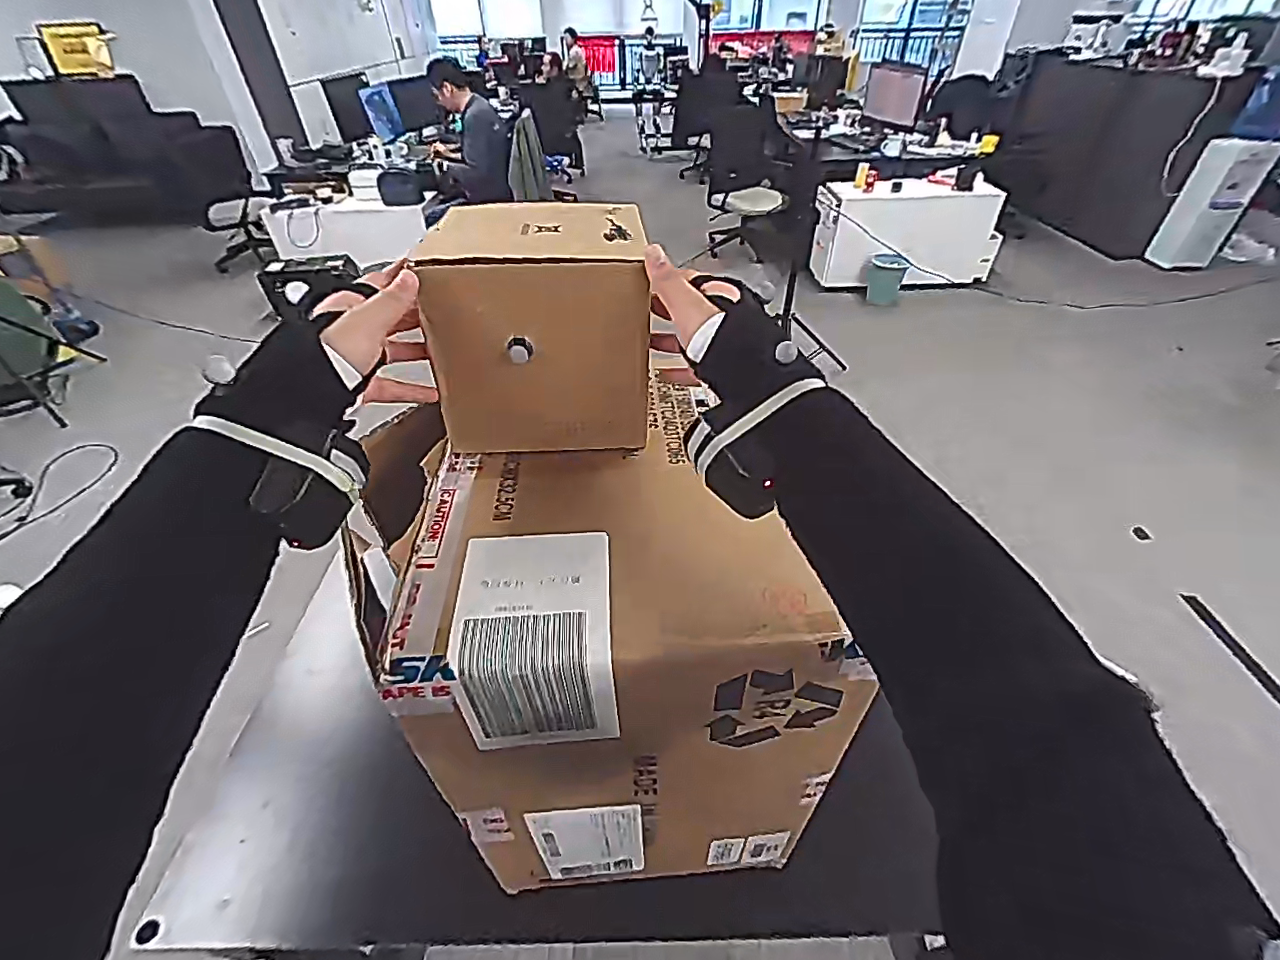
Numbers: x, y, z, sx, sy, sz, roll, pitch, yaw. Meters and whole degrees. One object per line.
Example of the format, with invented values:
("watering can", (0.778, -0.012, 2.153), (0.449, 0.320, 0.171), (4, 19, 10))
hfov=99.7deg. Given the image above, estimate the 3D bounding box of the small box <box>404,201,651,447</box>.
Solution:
("small box", (-0.083, -0.142, 0.491), (0.179, 0.176, 0.168), (-3, 39, -3))
